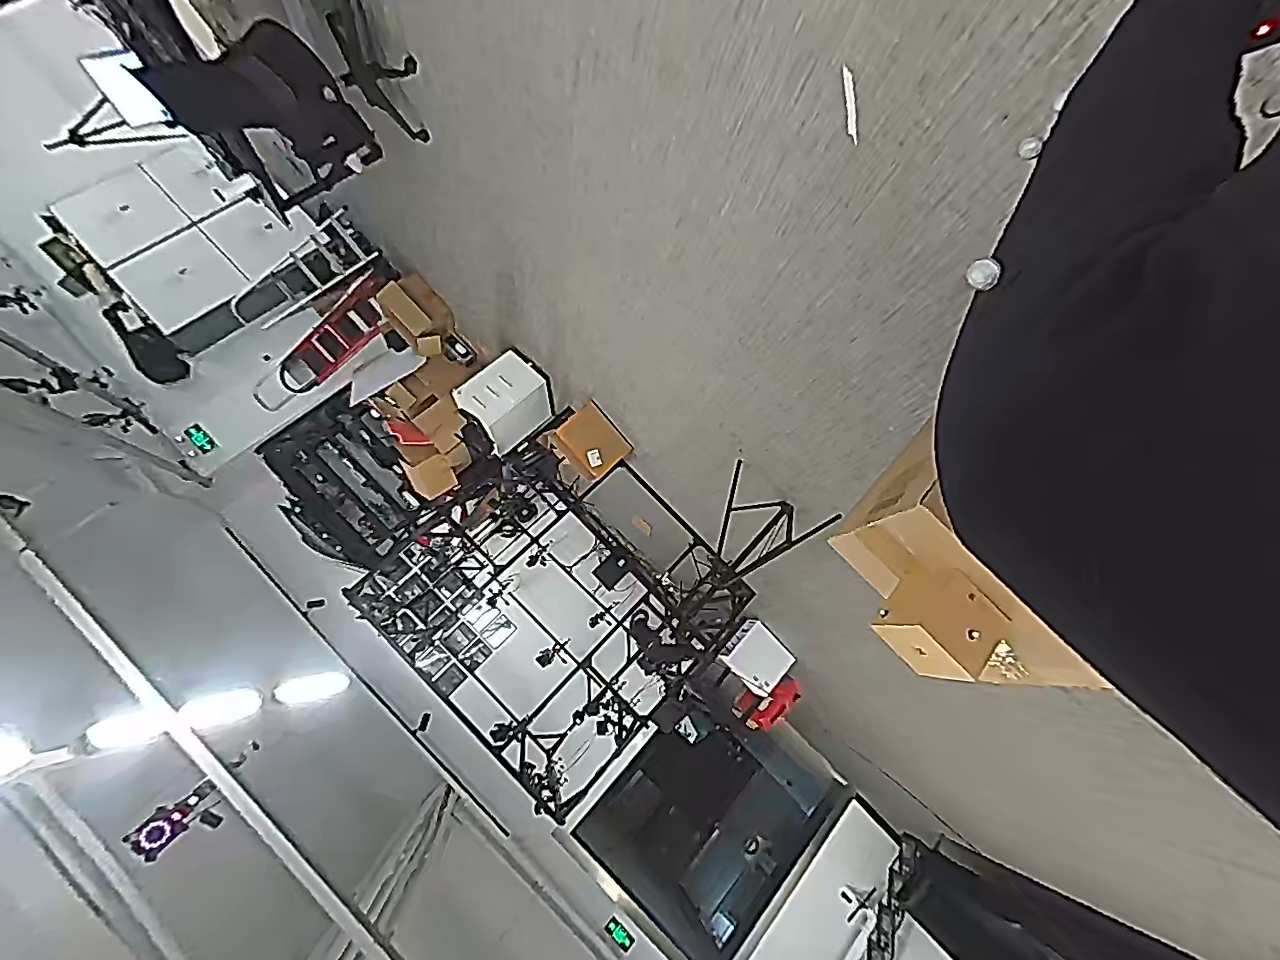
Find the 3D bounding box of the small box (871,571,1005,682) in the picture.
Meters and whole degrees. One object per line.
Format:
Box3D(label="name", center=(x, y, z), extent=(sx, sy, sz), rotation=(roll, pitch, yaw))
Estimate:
Box3D(label="small box", center=(0.659, 0.317, 1.191), extent=(0.168, 0.176, 0.179), rotation=(45, 162, 2))
